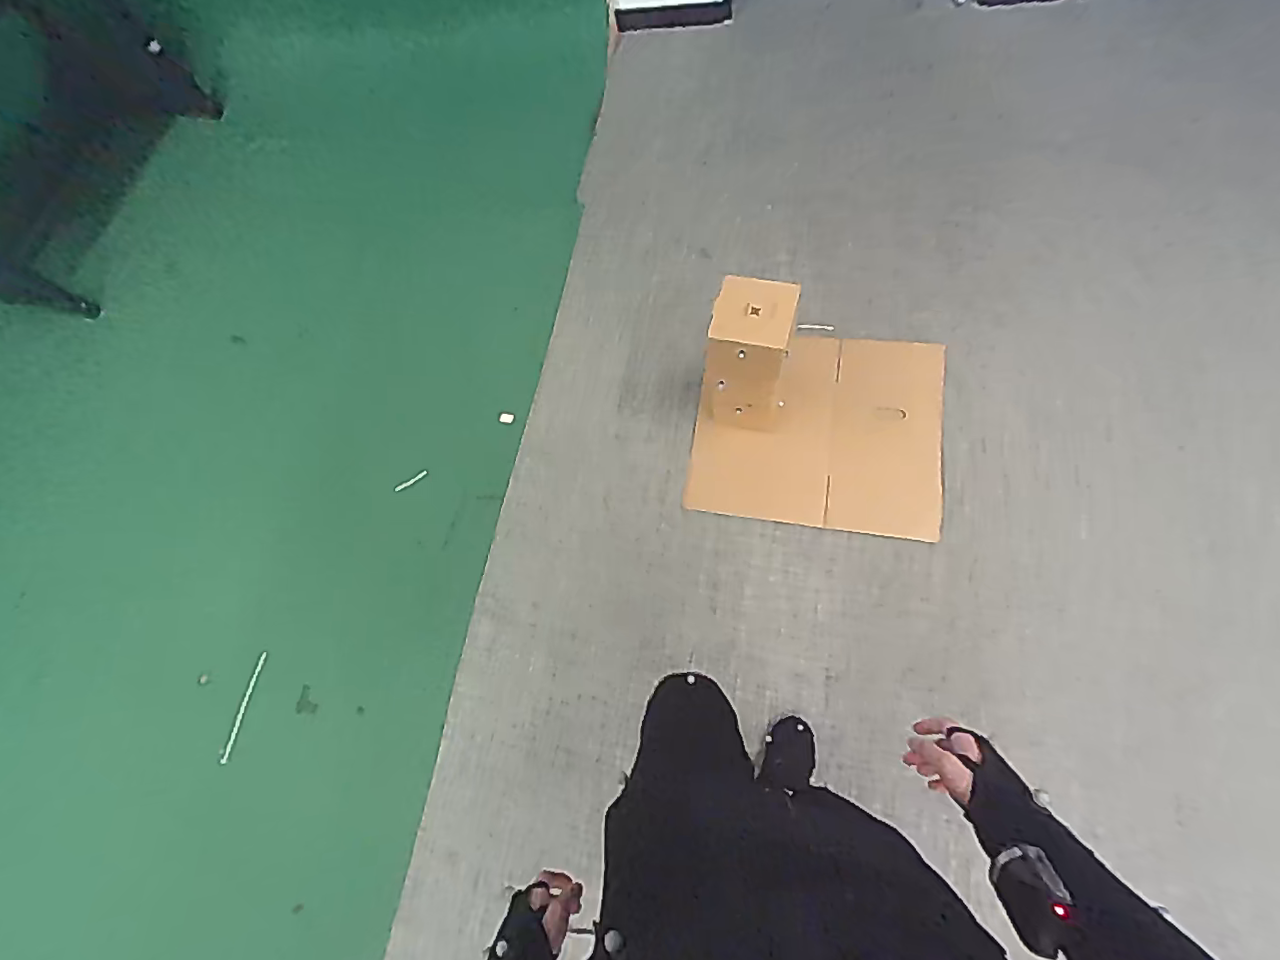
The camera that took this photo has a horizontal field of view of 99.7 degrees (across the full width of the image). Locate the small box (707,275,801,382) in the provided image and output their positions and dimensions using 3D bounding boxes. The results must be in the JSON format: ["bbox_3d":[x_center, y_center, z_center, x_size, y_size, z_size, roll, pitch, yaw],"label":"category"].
[{"bbox_3d":[0.265,-0.348,1.264,0.179,0.176,0.168,14,76,14],"label":"small box"}]
